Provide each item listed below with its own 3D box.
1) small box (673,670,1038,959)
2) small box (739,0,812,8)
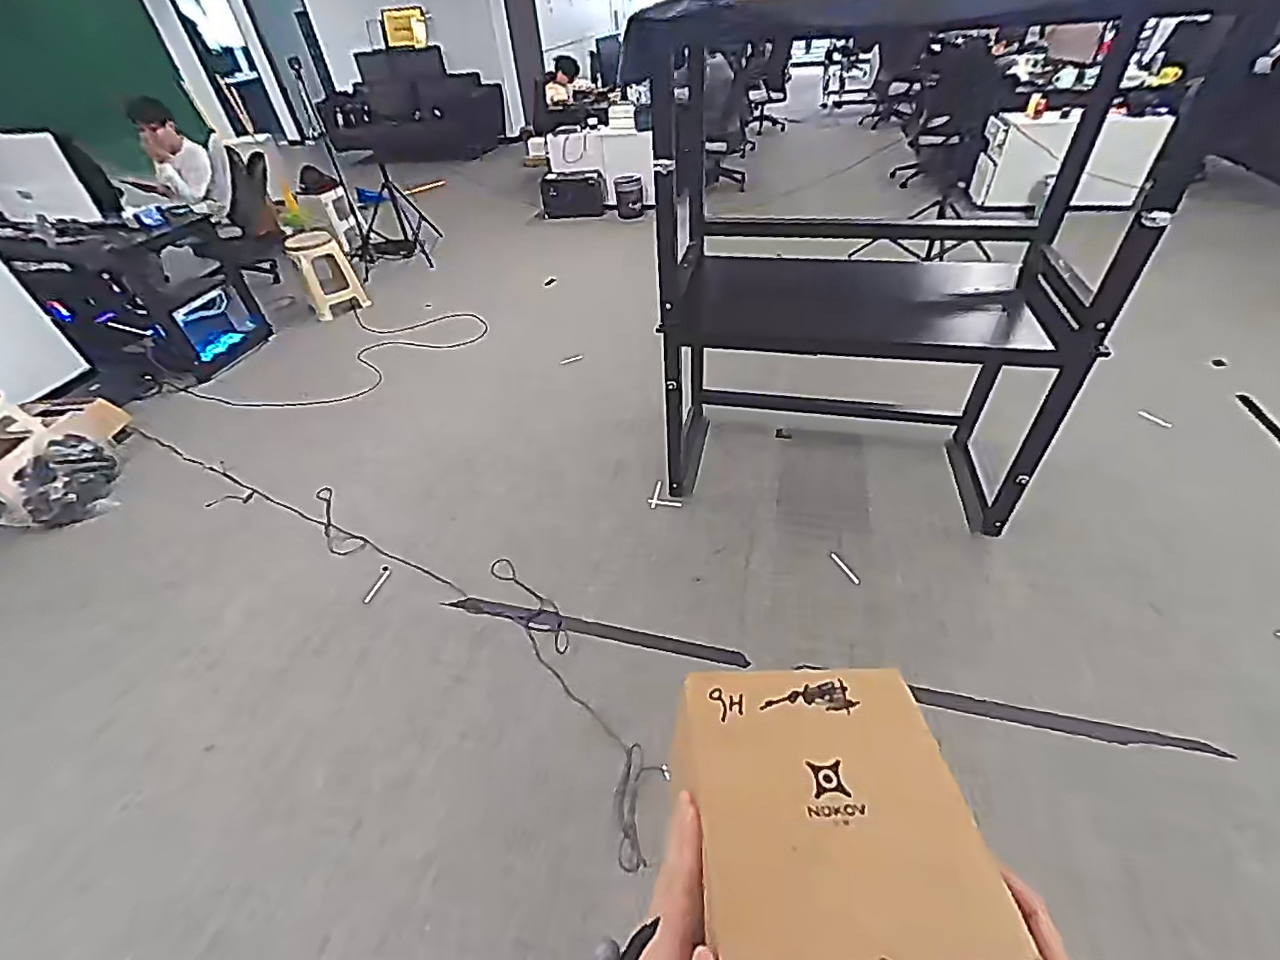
[{"bbox_3d":[0.116,0.260,0.382,0.168,0.176,0.179,0,38,-4],"label":"small box"},{"bbox_3d":[0.302,-1.122,1.146,0.168,0.176,0.179,6,41,10],"label":"small box"}]
